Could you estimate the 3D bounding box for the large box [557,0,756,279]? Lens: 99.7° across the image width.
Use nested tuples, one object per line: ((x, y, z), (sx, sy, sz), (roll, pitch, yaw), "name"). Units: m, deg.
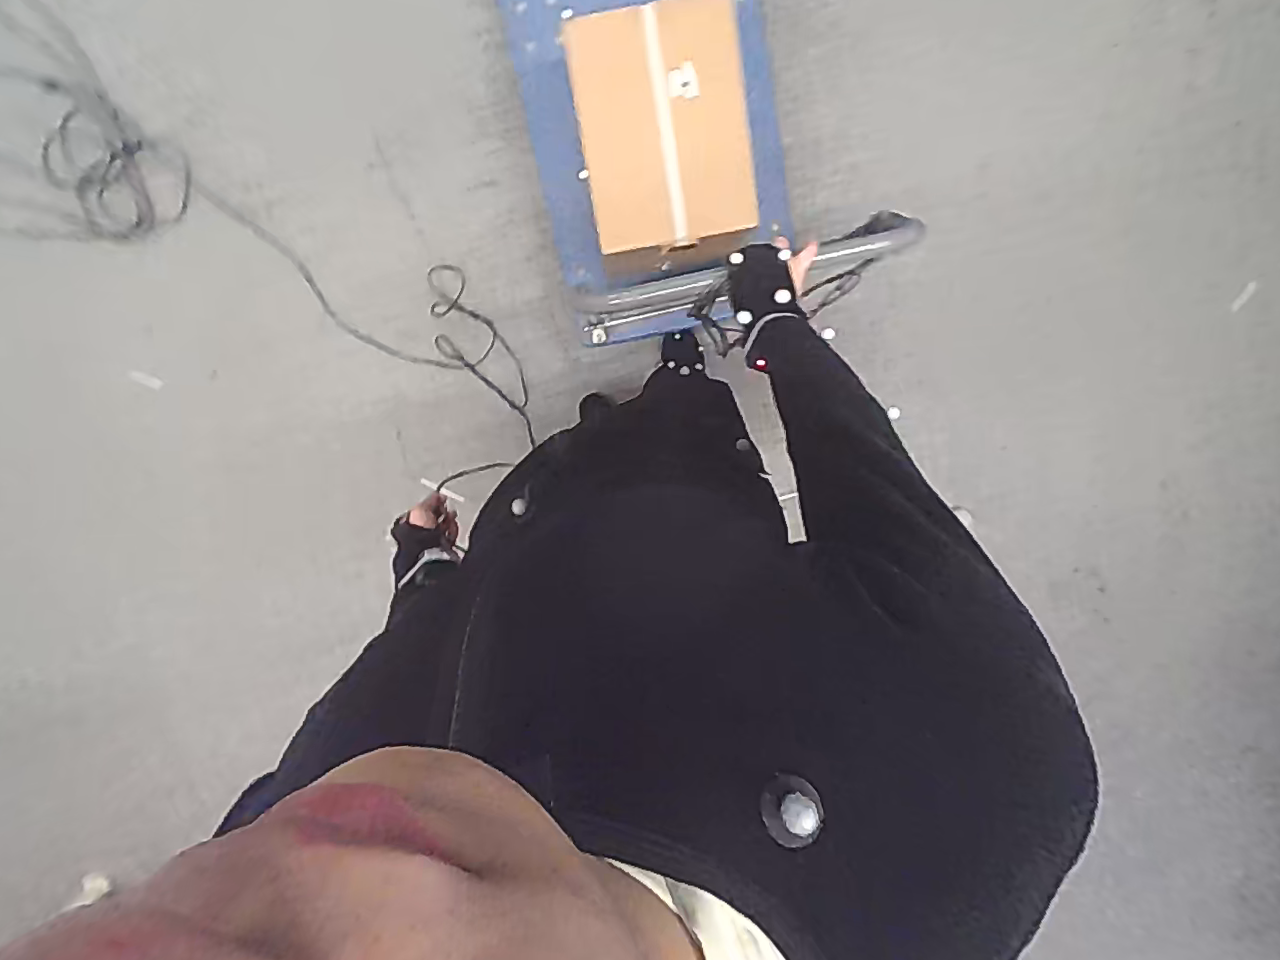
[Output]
((0.035, -0.683, 1.146), (0.320, 0.320, 0.408), (-10, 102, 0), "large box")
